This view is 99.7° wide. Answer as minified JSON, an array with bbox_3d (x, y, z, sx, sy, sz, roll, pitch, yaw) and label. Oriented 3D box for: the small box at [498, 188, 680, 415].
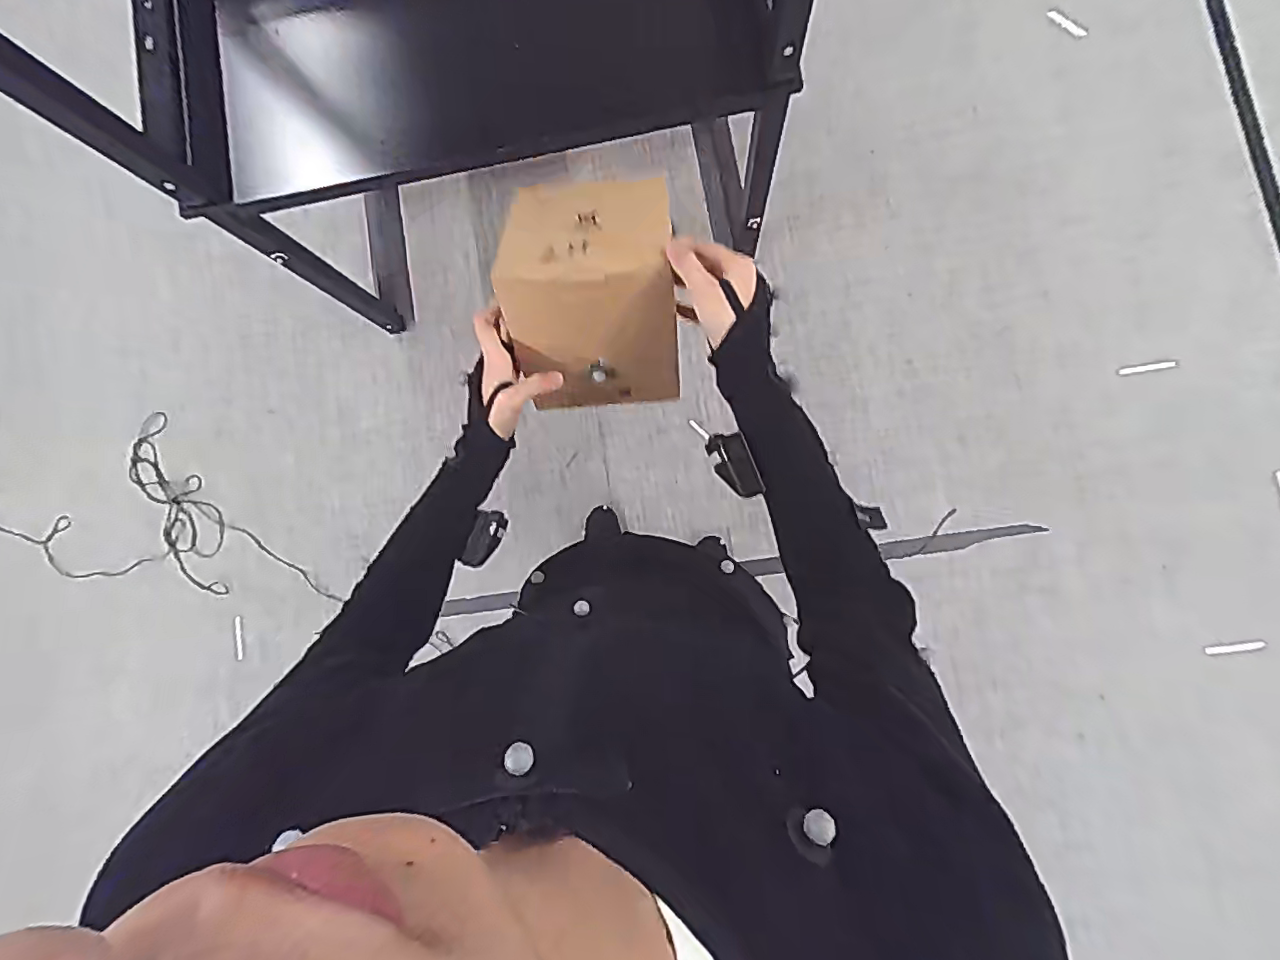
[{"bbox_3d":[-0.042,-0.193,0.600,0.168,0.176,0.179,-3,54,4],"label":"small box"}]
